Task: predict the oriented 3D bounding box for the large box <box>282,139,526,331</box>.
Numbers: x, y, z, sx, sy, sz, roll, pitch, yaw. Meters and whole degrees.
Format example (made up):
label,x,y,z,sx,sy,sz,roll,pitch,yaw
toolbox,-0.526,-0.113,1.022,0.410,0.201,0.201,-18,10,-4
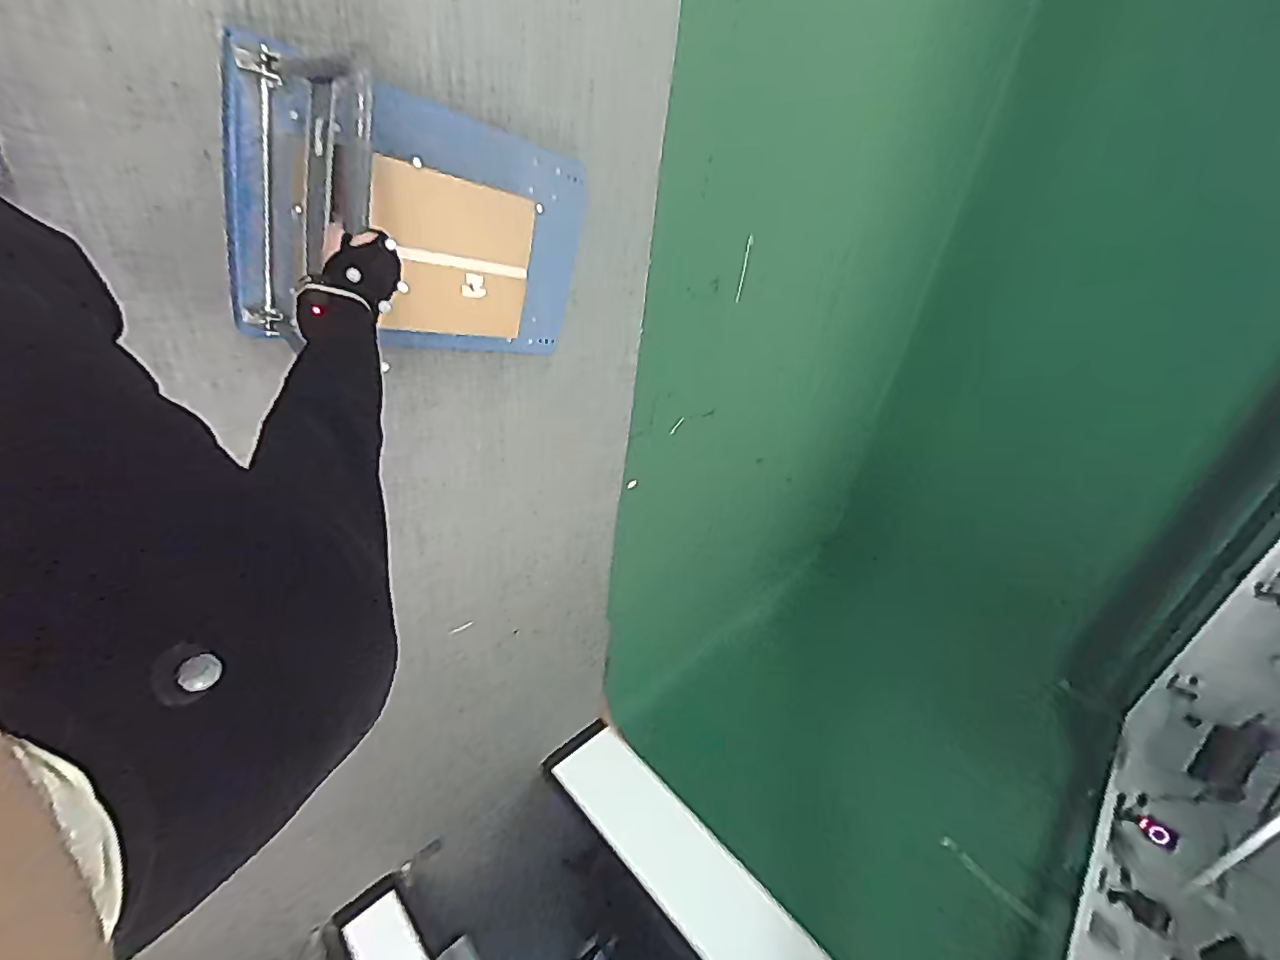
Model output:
label,x,y,z,sx,sy,sz,roll,pitch,yaw
large box,-0.528,-0.536,1.218,0.408,0.320,0.320,-11,124,-46
